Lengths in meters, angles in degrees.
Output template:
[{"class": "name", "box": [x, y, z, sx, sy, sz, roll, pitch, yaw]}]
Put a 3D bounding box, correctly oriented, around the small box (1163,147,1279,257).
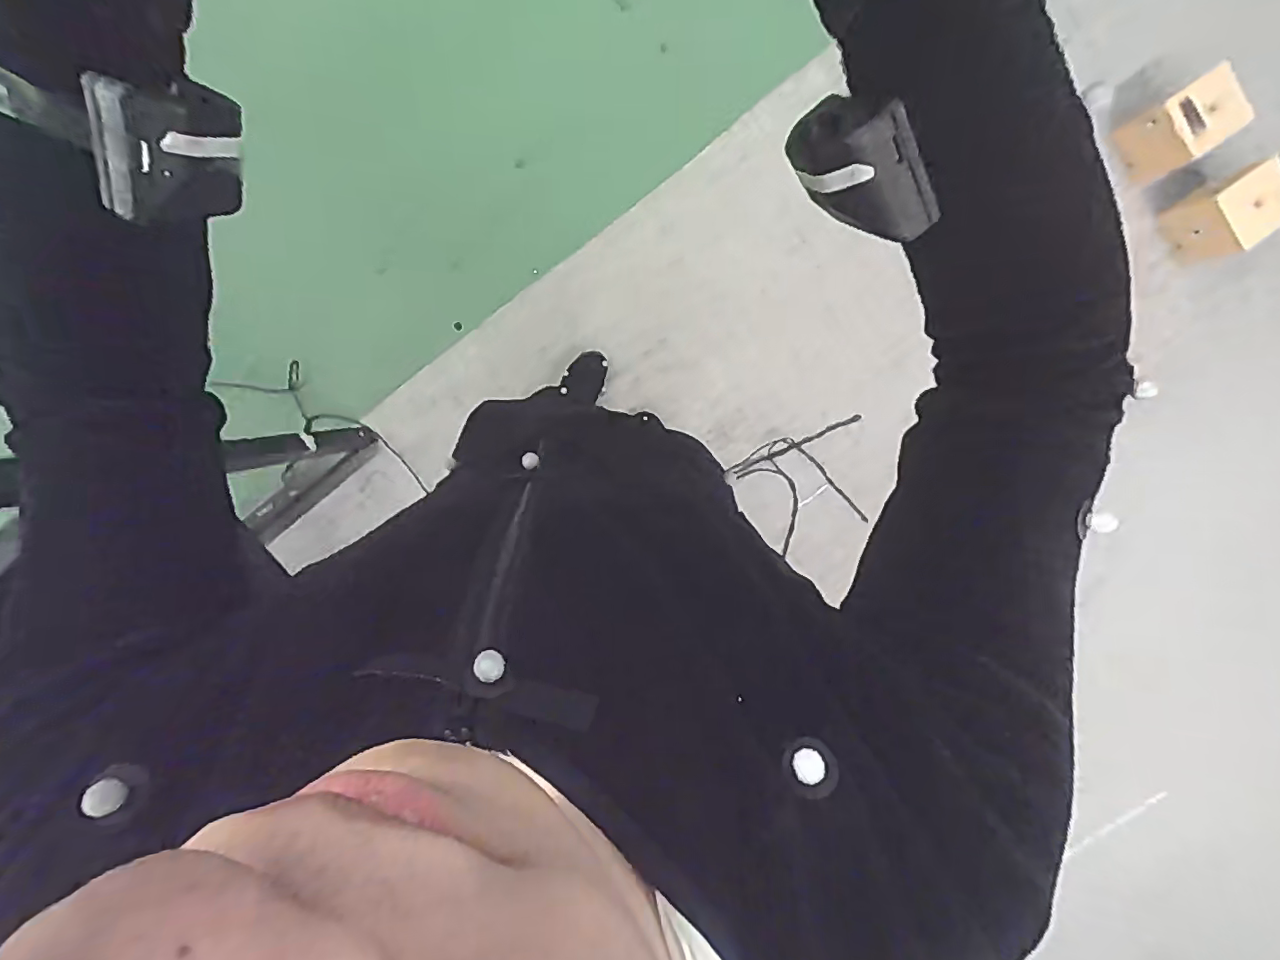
[{"class": "small box", "box": [1.563, -0.729, 1.440, 0.179, 0.176, 0.168, -37, 97, 5]}]
